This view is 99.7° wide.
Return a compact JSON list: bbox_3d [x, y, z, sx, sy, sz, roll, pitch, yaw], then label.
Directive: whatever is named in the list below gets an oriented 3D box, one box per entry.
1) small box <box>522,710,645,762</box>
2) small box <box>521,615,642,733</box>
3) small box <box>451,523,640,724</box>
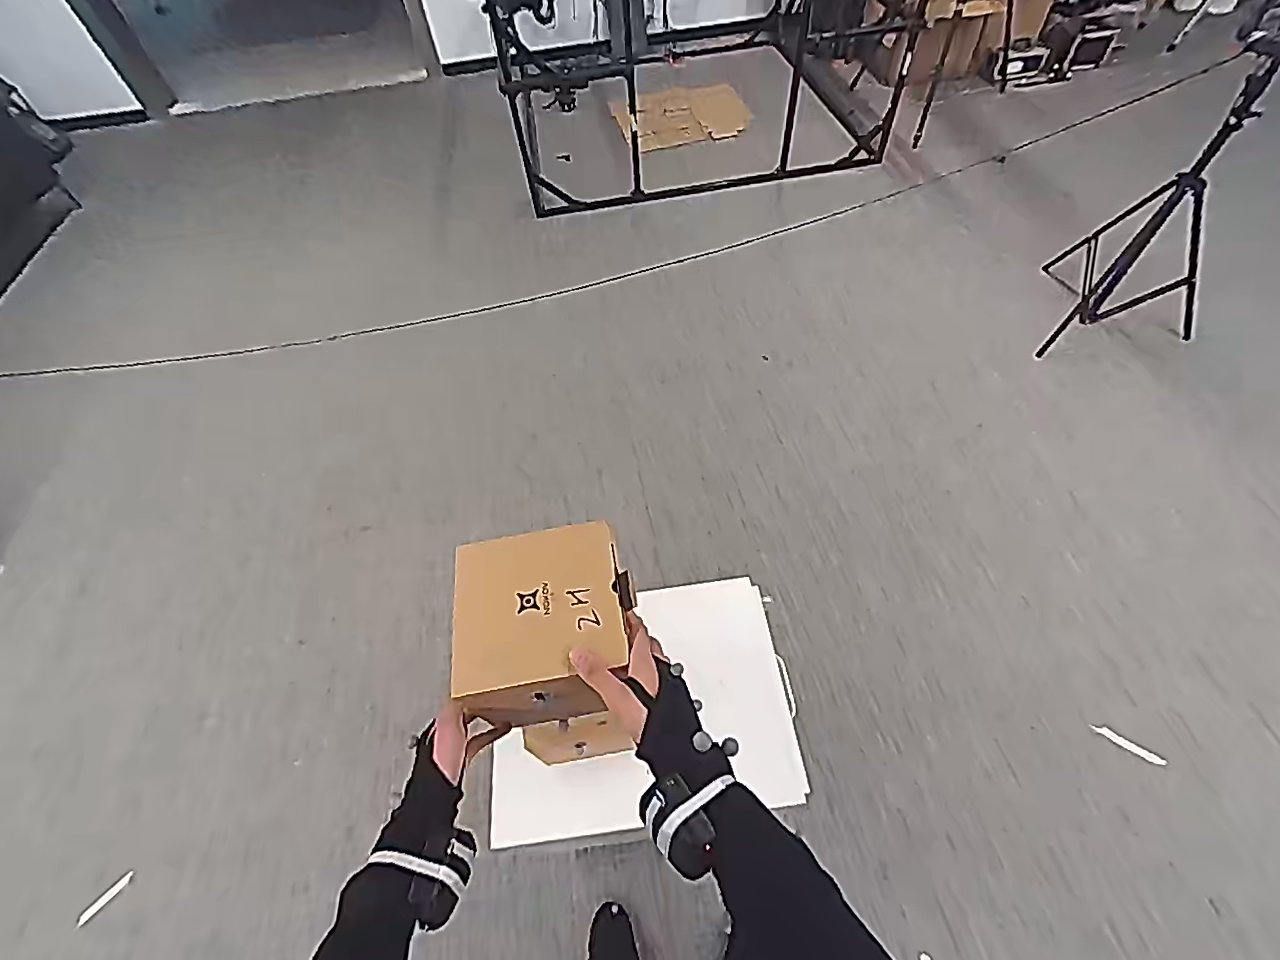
[{"bbox_3d":[-0.092,0.356,0.898,0.179,0.176,0.168,-9,55,-3],"label":"small box"},{"bbox_3d":[-0.092,0.251,0.774,0.168,0.176,0.179,-8,54,-2],"label":"small box"},{"bbox_3d":[-0.101,0.172,0.628,0.179,0.176,0.168,-9,56,-2],"label":"small box"}]
